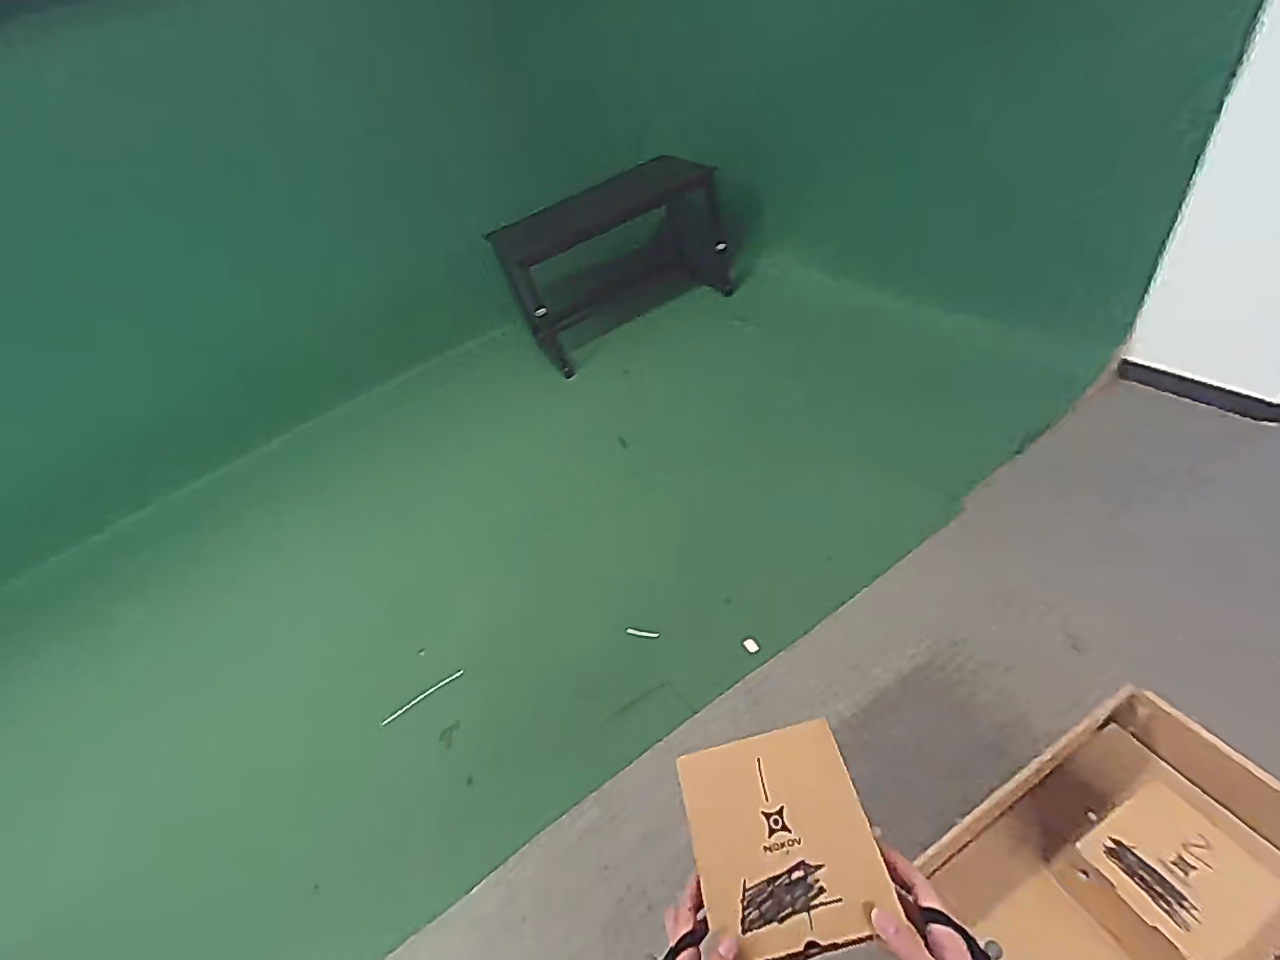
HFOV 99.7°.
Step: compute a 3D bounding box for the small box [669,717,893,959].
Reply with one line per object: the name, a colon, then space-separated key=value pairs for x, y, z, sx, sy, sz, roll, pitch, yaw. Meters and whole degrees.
small box: x=0.141 y=0.380 z=0.567 sx=0.168 sy=0.176 sz=0.179 roll=-17 pitch=46 yaw=4
